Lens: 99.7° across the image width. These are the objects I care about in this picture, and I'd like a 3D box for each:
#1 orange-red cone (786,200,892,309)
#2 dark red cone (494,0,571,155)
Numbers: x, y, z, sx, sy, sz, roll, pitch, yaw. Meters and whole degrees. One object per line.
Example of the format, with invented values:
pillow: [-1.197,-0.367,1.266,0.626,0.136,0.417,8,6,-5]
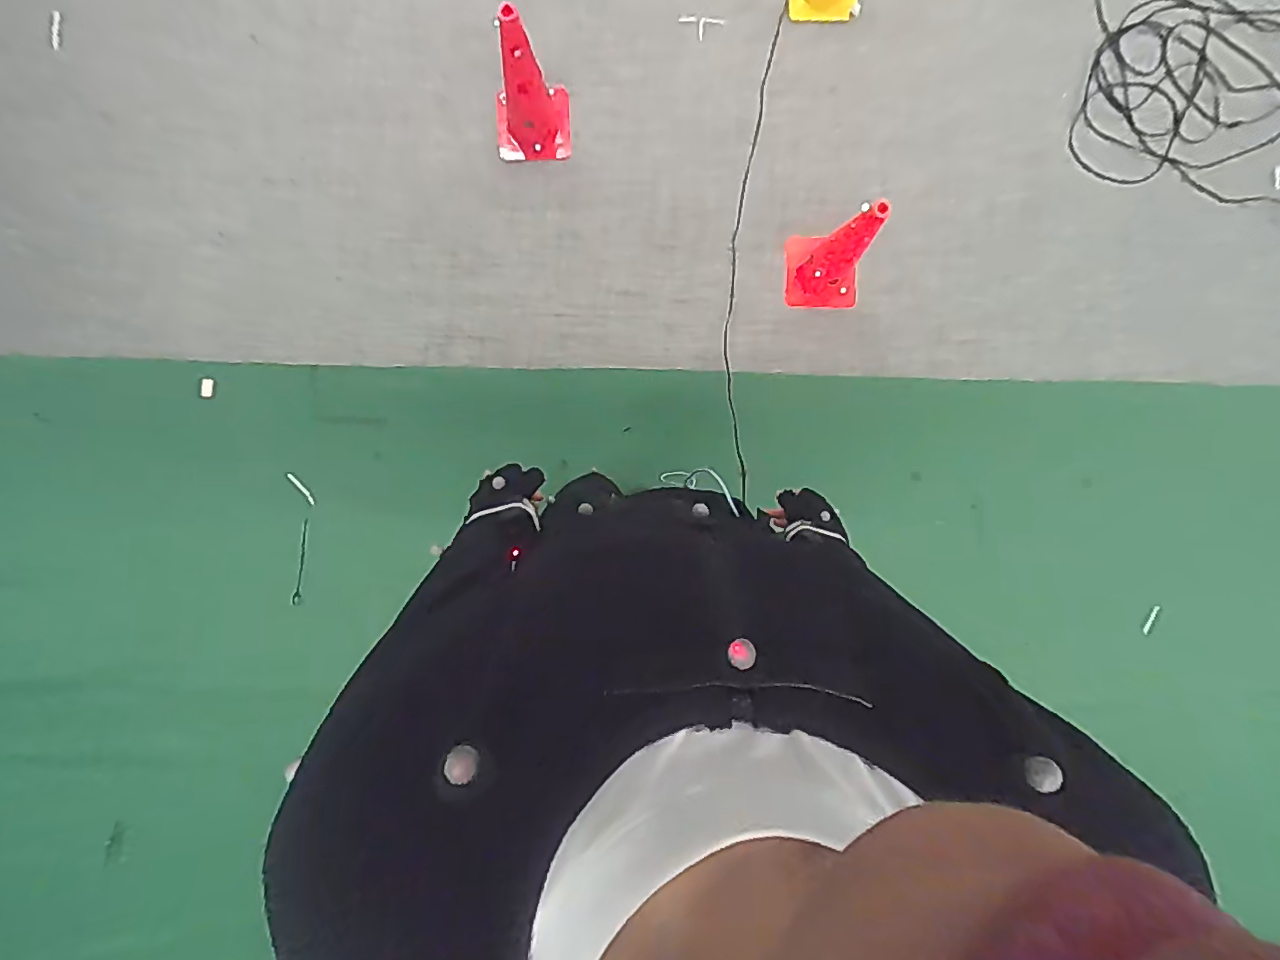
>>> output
orange-red cone: [0.516,-0.586,1.343,0.198,0.360,0.199,1,88,-3]
dark red cone: [-0.284,-0.980,1.298,0.202,0.394,0.201,-5,90,-2]
